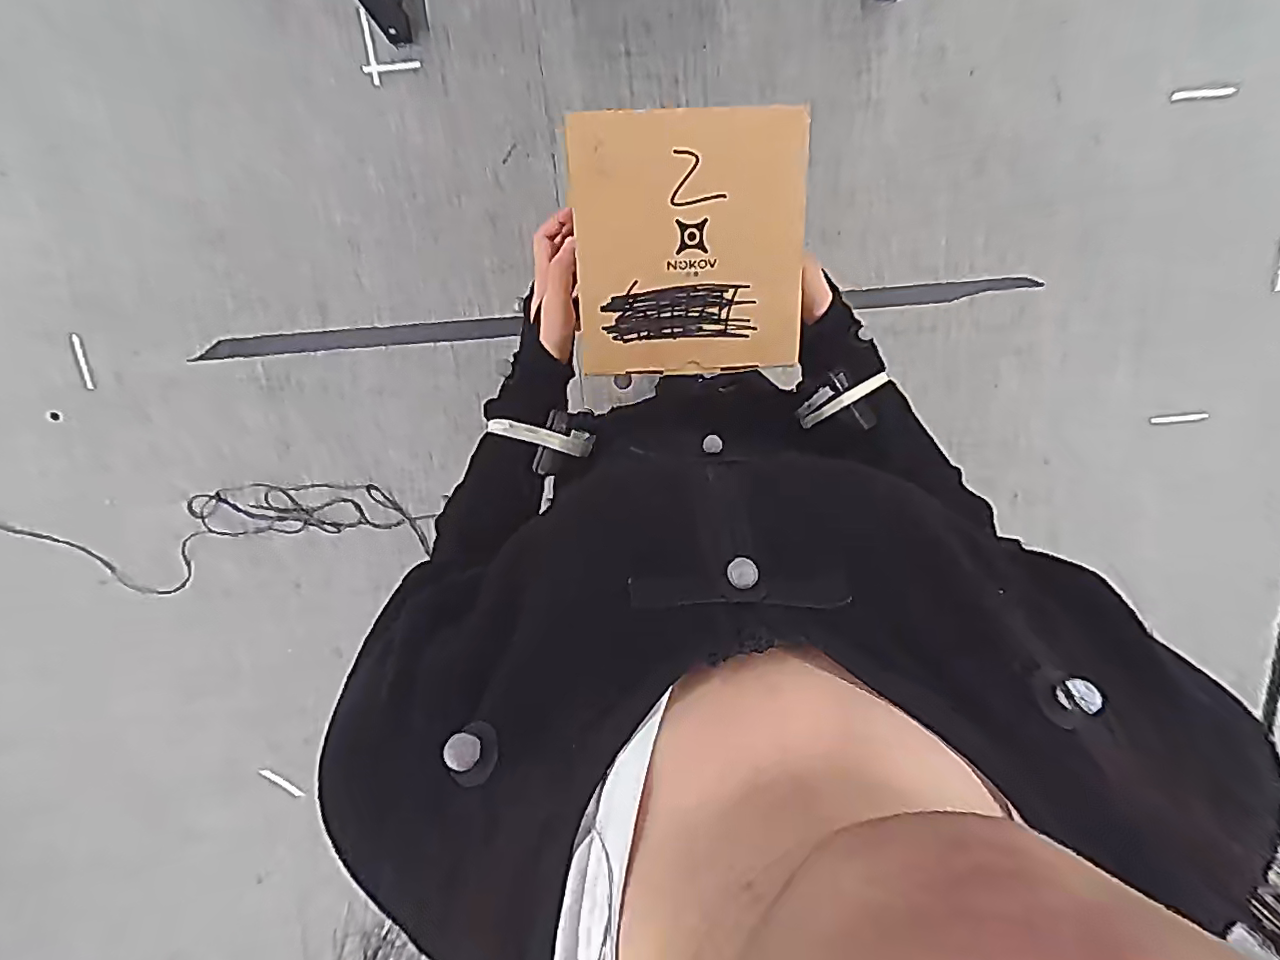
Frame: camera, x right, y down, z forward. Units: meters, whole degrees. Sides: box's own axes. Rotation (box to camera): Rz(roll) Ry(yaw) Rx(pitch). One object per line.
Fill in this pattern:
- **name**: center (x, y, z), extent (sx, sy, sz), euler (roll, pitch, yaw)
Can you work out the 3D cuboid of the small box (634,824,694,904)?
- **small box**: center (0.071, 1.219, 1.703), extent (0.179, 0.176, 0.168), euler (1, 102, -3)
